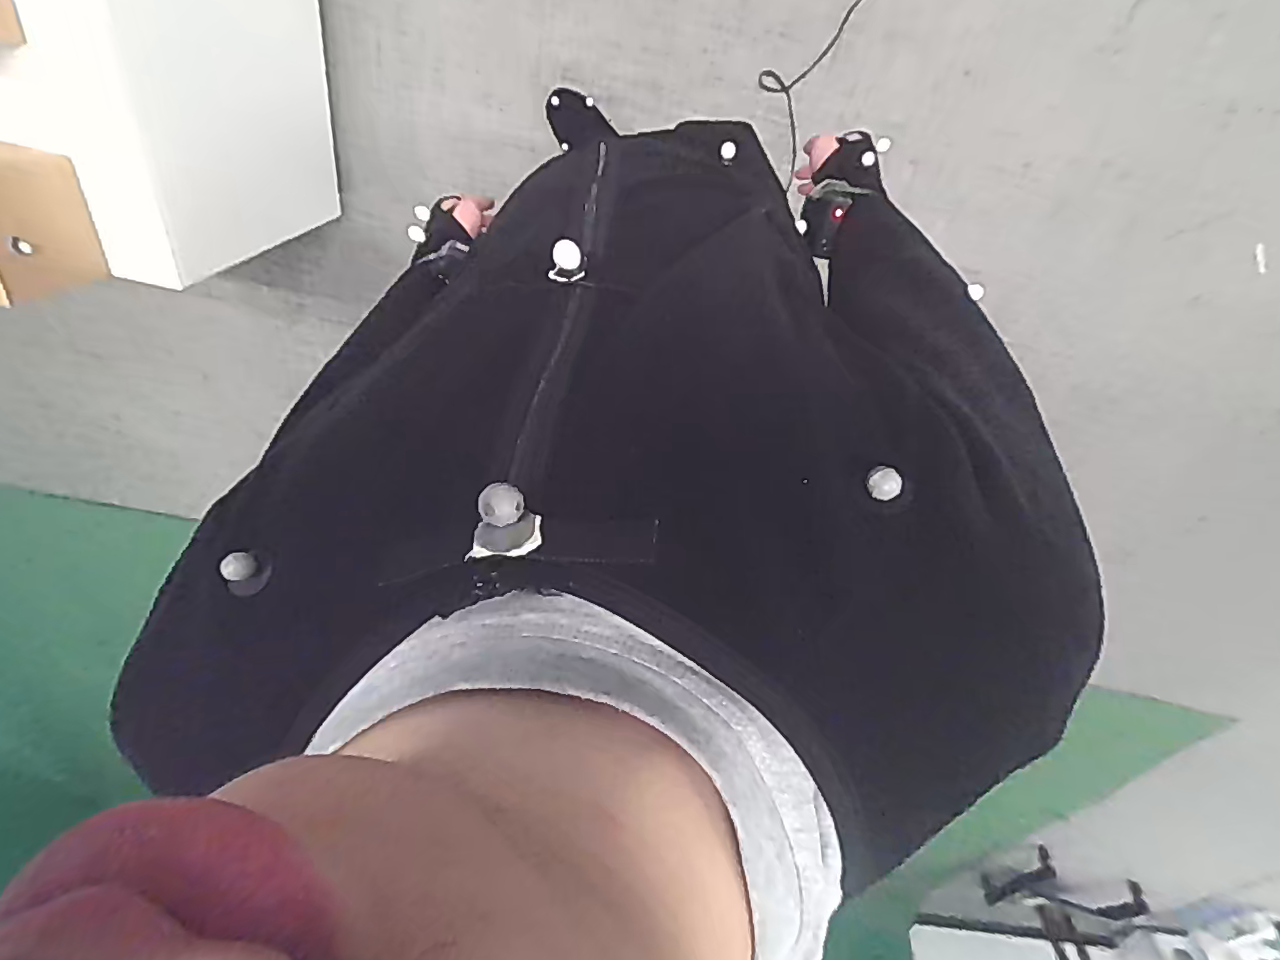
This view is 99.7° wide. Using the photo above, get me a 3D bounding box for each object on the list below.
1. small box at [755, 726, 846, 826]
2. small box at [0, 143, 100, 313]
[{"bbox_3d":[0.399,0.753,1.383,0.179,0.176,0.168,5,129,0],"label":"small box"},{"bbox_3d":[-0.914,-0.356,0.742,0.168,0.176,0.179,11,125,-6],"label":"small box"}]
